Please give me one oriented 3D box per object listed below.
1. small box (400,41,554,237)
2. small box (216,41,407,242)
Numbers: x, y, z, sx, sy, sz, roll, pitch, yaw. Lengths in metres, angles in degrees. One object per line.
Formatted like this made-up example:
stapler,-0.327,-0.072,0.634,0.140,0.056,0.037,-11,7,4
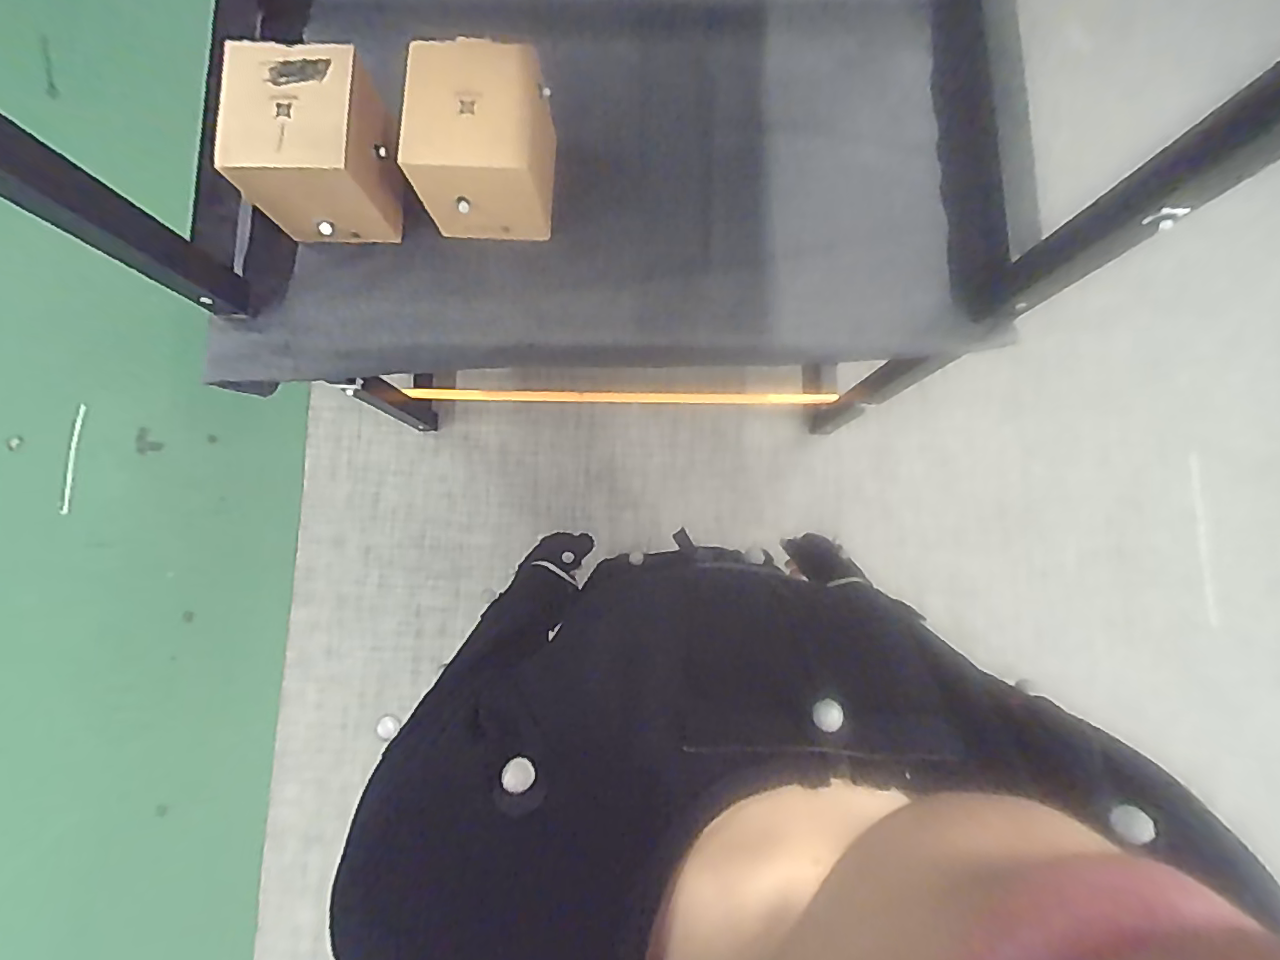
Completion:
small box,-0.218,-0.470,0.768,0.168,0.176,0.179,2,82,0
small box,-0.445,-0.466,0.763,0.168,0.176,0.179,1,83,0
